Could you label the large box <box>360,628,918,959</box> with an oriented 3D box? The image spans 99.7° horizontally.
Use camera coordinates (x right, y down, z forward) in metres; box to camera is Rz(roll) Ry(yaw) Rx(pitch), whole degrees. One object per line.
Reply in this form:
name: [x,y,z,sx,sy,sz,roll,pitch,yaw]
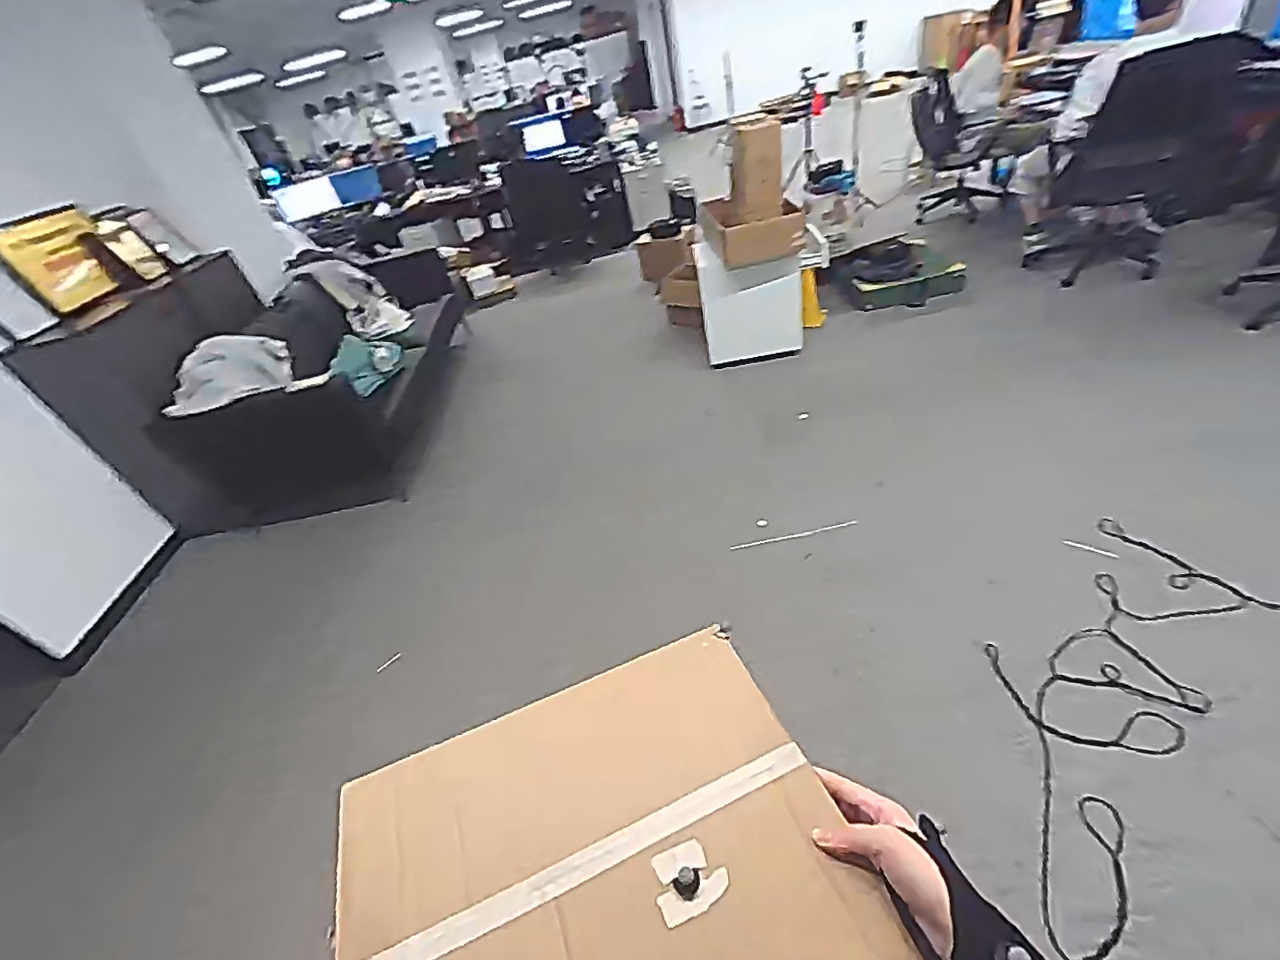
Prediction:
large box: [-0.018,0.428,0.550,0.408,0.320,0.320,-18,41,-13]
